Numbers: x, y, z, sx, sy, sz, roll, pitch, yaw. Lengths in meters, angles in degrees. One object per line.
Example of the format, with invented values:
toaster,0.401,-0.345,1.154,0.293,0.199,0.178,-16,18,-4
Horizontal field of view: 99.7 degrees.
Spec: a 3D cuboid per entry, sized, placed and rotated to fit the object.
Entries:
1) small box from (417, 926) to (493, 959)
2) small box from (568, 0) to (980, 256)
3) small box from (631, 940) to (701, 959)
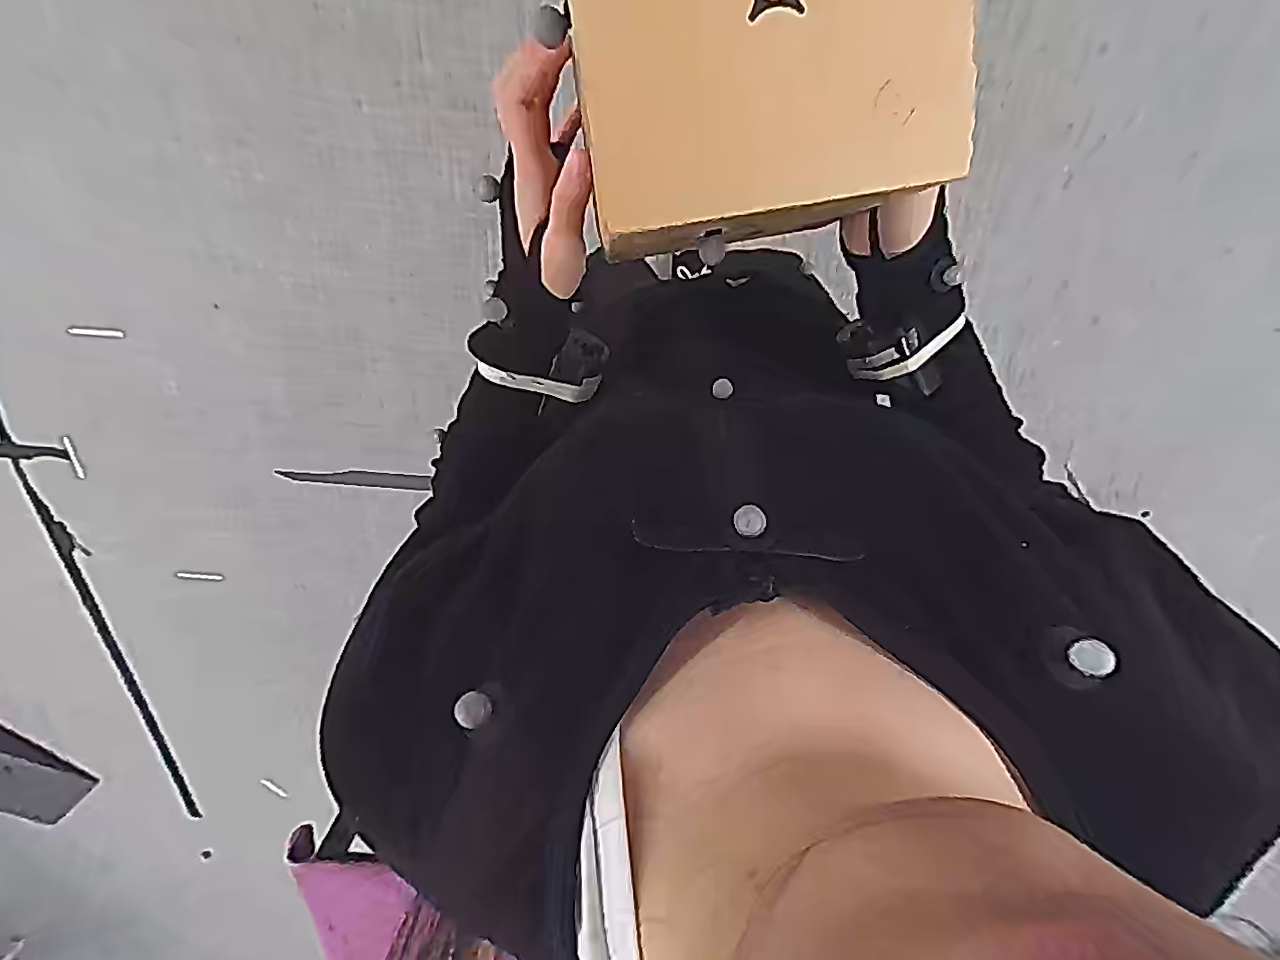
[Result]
small box,-0.452,1.205,1.278,0.168,0.176,0.179,9,116,-1
small box,0.050,-0.224,0.288,0.168,0.176,0.179,-9,107,0
small box,0.055,1.217,1.252,0.168,0.176,0.179,5,115,1
